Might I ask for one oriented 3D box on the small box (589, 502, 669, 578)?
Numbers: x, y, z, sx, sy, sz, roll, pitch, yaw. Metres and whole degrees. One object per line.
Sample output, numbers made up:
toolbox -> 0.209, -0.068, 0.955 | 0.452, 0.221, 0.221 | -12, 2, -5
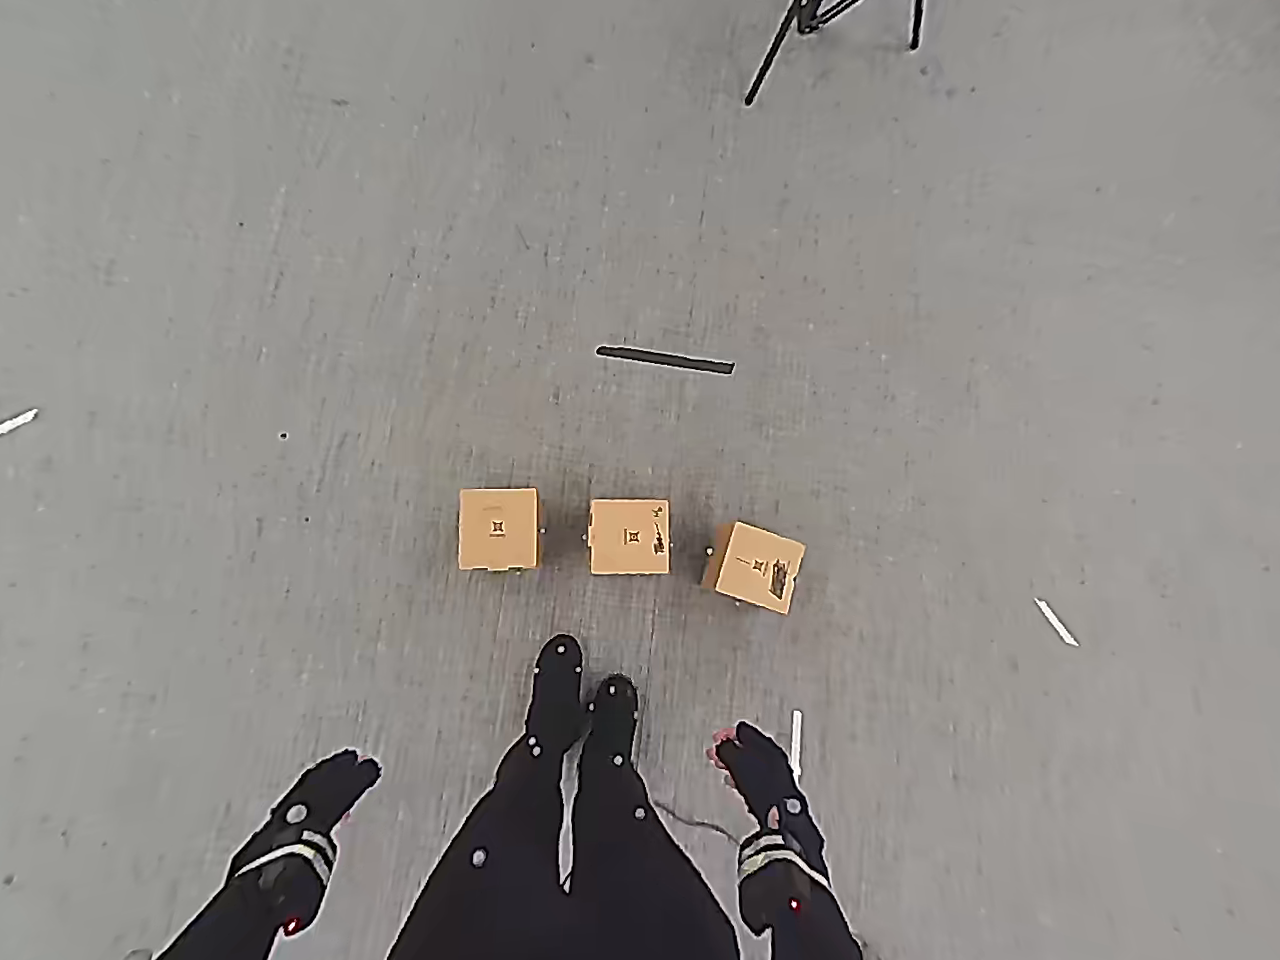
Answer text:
small box -> -0.029, 0.143, 1.264 | 0.179, 0.176, 0.168 | 1, 82, -6

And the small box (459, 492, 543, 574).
small box -> -0.311, 0.123, 1.237 | 0.168, 0.176, 0.179 | -1, 81, -7

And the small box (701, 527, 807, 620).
small box -> 0.264, 0.219, 1.286 | 0.179, 0.176, 0.168 | 20, 80, -3
